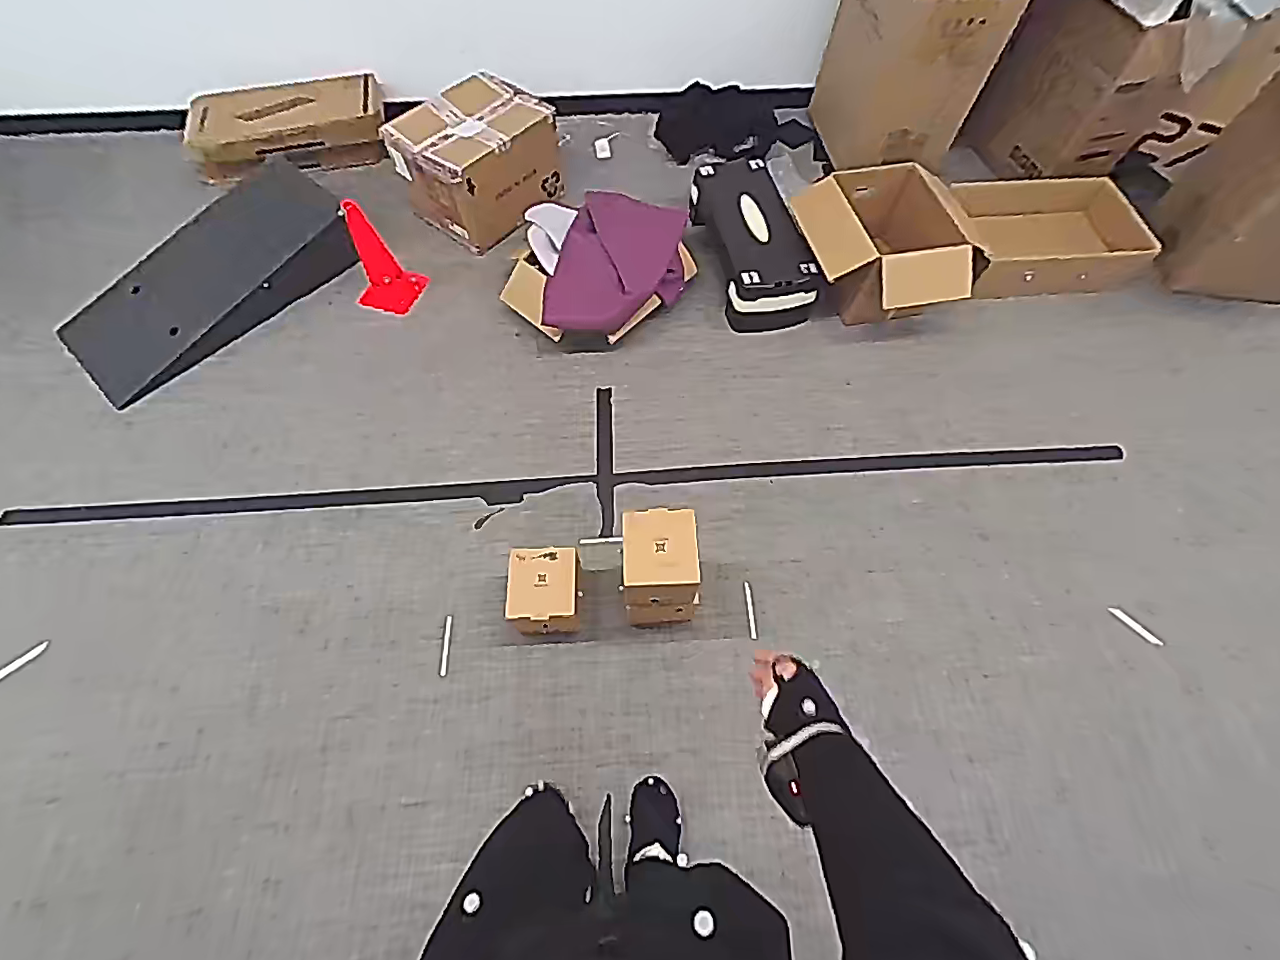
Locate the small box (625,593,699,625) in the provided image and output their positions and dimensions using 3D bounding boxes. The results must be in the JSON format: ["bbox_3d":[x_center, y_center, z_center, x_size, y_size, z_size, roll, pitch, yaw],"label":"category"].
[{"bbox_3d":[0.048,0.272,1.398,0.179,0.176,0.168,-4,63,-2],"label":"small box"}]

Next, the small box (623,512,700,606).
[{"bbox_3d":[0.044,0.186,1.259,0.168,0.176,0.179,-2,64,-1],"label":"small box"}]

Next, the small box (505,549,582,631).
[{"bbox_3d":[-0.239,0.288,1.387,0.168,0.176,0.179,-1,63,-1],"label":"small box"}]
